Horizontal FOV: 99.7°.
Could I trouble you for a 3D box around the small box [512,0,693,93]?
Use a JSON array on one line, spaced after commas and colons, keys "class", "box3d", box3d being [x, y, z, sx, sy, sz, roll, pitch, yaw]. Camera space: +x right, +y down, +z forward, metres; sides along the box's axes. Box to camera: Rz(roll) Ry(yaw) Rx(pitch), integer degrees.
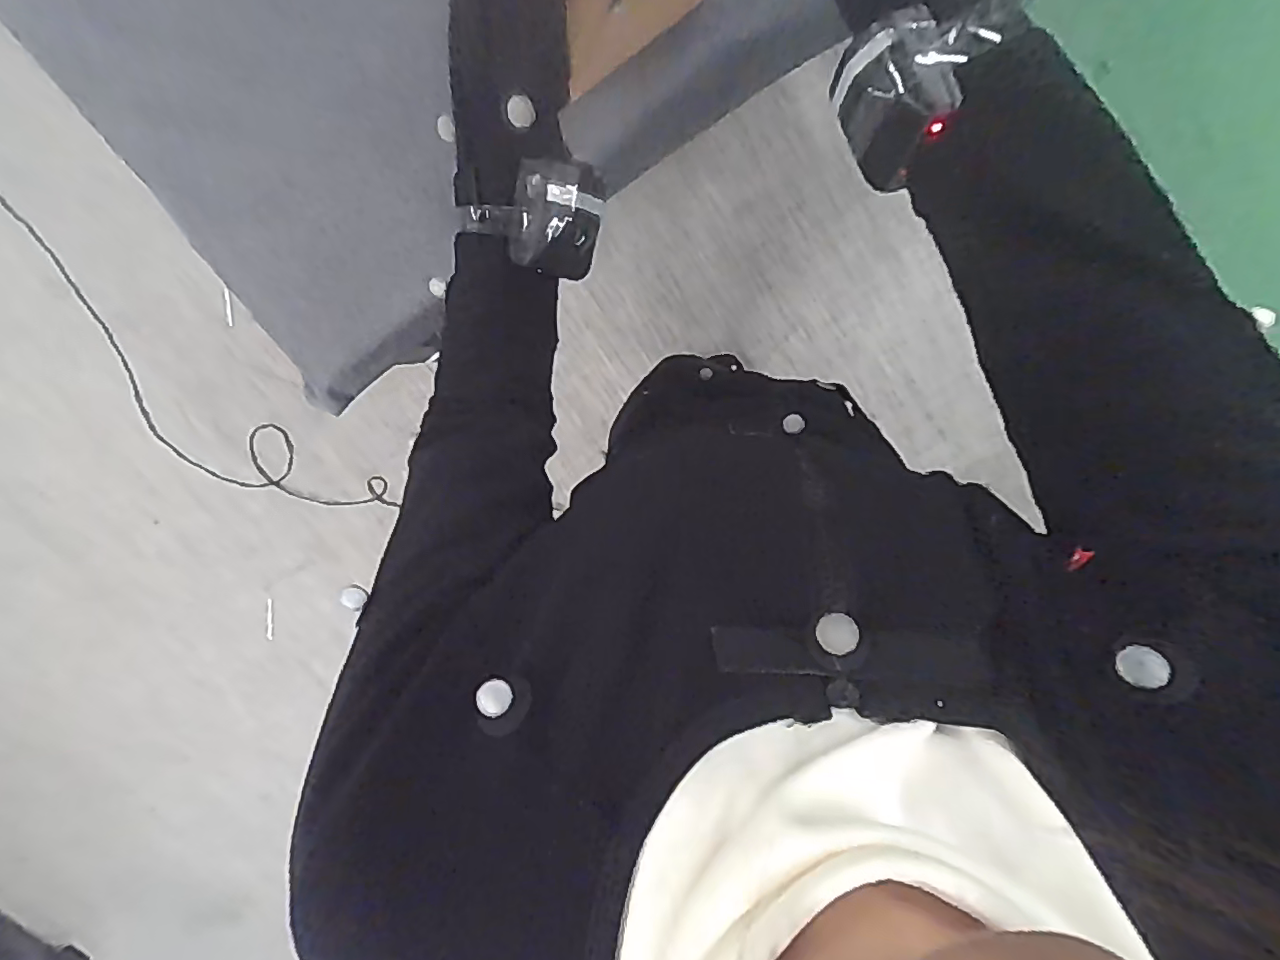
[{"class": "small box", "box3d": [-0.053, -0.507, 0.490, 0.179, 0.176, 0.168, -31, 99, 11]}]
